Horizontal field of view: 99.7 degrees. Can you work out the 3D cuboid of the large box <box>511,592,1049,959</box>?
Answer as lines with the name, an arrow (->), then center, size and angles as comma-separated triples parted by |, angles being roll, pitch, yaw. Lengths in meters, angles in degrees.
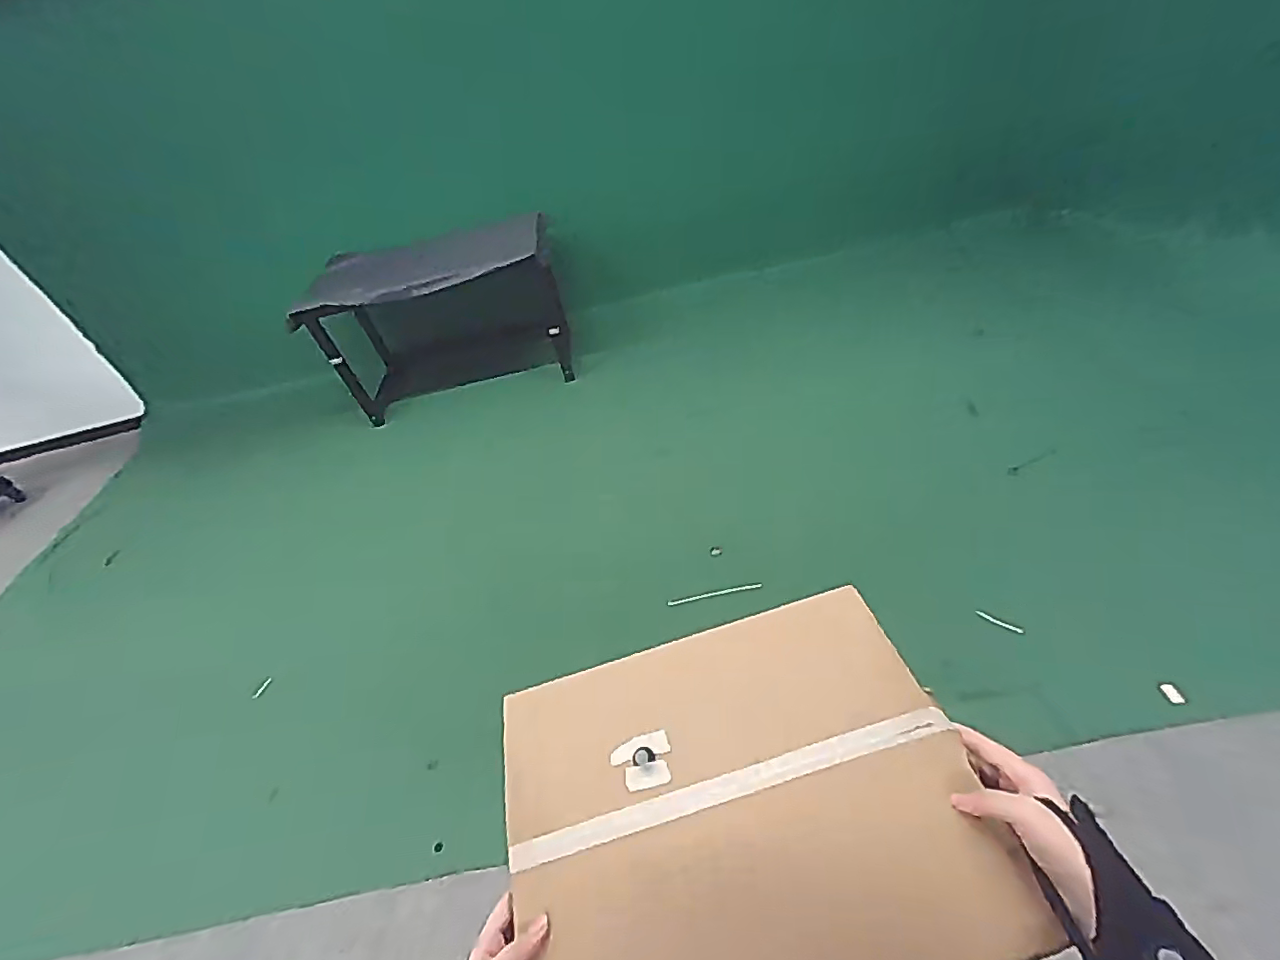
large box -> 0.115, 0.389, 0.597 | 0.408, 0.320, 0.320 | -19, 43, 0
